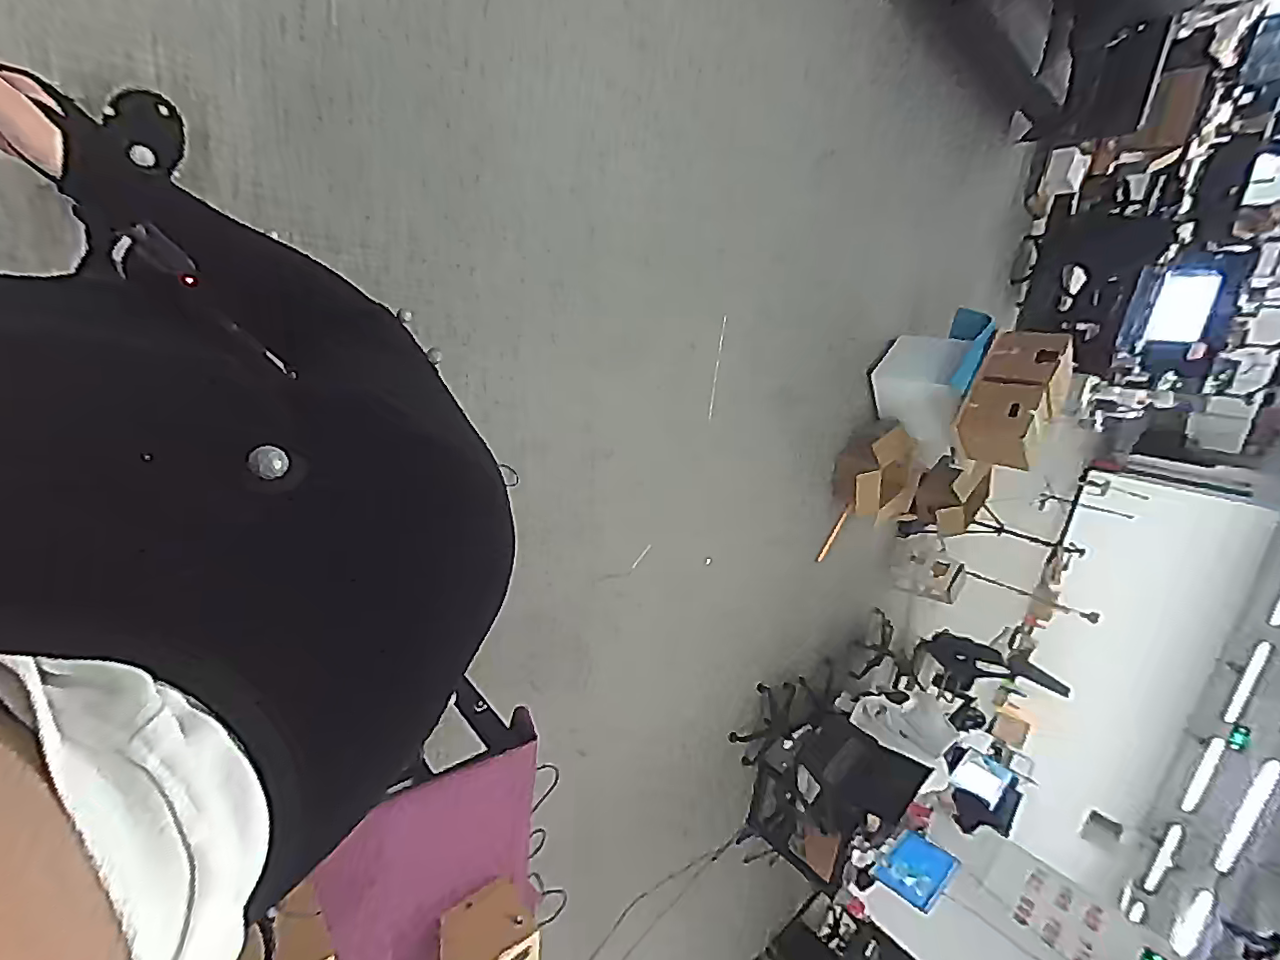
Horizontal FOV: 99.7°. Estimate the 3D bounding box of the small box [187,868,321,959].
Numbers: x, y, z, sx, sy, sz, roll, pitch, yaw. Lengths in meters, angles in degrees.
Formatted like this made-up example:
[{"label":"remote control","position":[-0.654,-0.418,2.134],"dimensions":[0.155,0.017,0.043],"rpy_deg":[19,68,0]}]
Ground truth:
[{"label":"small box","position":[-0.653,0.821,0.916],"dimensions":[0.168,0.176,0.179],"rpy_deg":[-6,112,-42]}]
